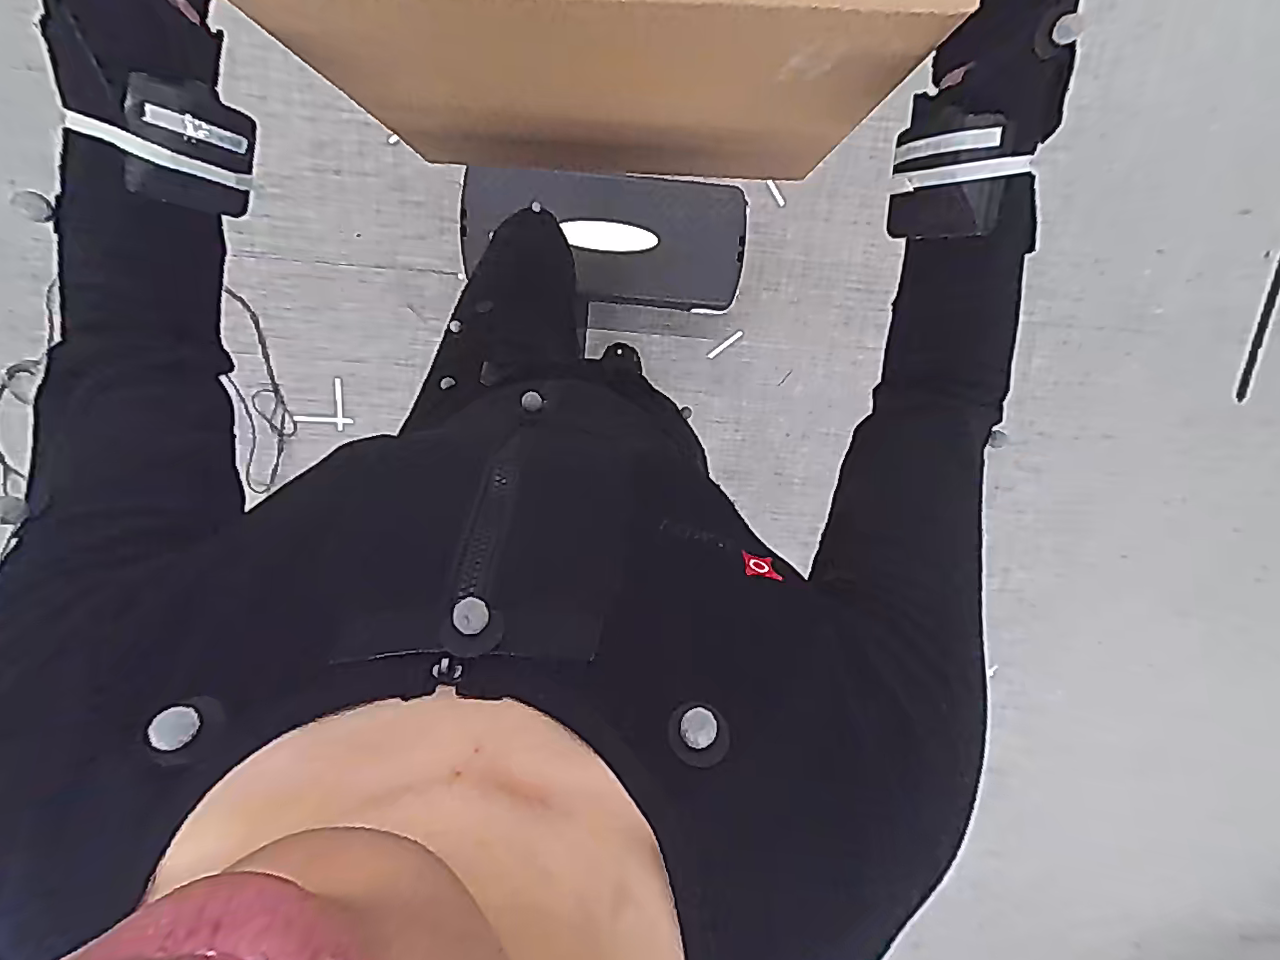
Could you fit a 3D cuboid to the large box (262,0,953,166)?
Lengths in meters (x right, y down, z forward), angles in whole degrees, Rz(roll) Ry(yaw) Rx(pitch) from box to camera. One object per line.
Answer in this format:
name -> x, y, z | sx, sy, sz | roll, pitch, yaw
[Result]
large box -> -0.022, -0.446, 0.395 | 0.408, 0.320, 0.320 | 1, 106, -1
